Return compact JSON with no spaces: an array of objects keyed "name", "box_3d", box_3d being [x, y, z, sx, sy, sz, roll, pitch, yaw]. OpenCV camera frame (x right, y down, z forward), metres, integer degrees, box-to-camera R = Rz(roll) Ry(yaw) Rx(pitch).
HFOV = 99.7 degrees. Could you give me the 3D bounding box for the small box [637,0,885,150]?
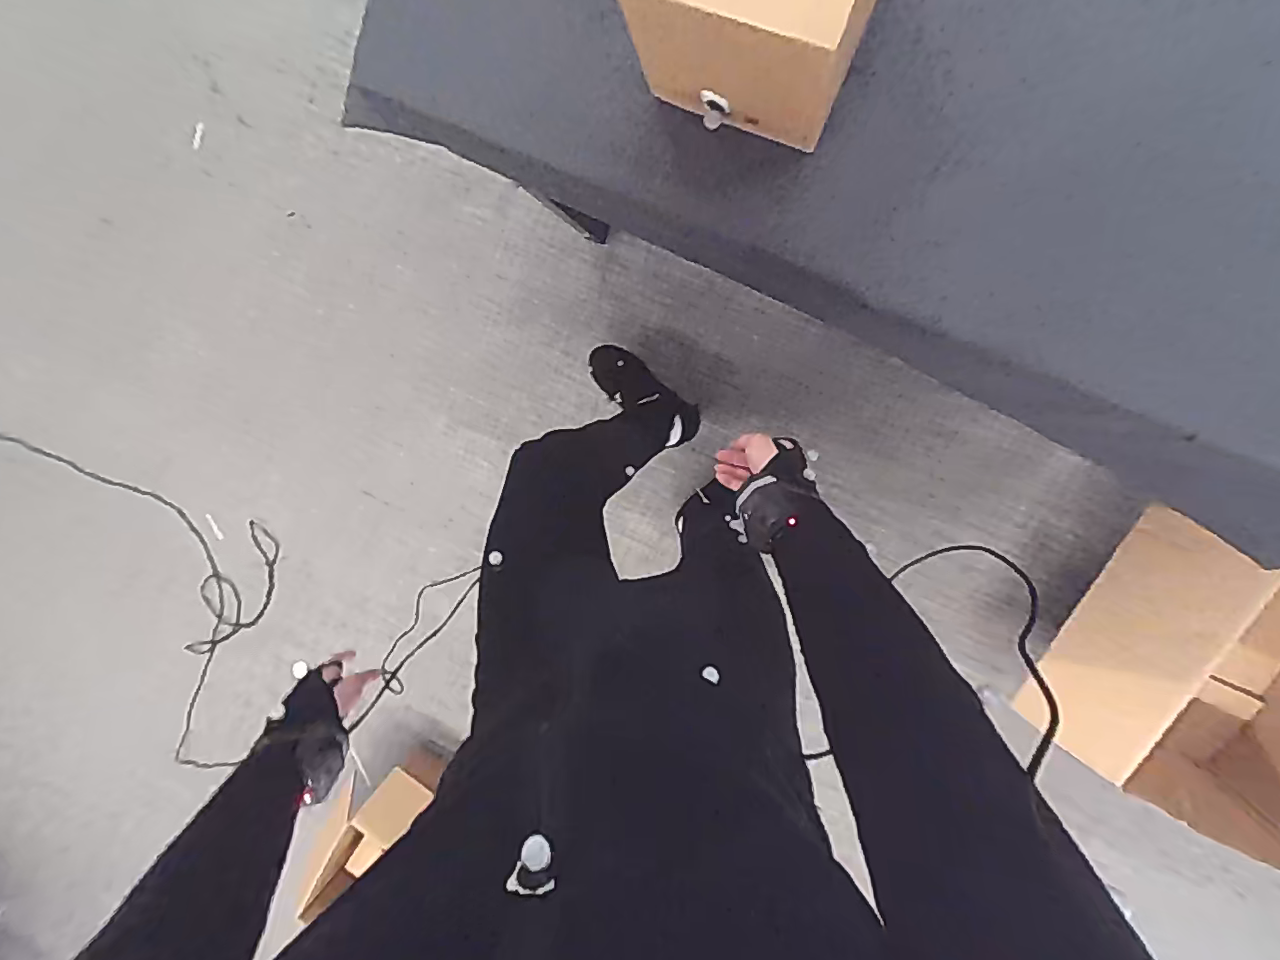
[{"name":"small box","box_3d":[0.107,-0.400,0.417,0.168,0.176,0.179,23,105,8]}]
